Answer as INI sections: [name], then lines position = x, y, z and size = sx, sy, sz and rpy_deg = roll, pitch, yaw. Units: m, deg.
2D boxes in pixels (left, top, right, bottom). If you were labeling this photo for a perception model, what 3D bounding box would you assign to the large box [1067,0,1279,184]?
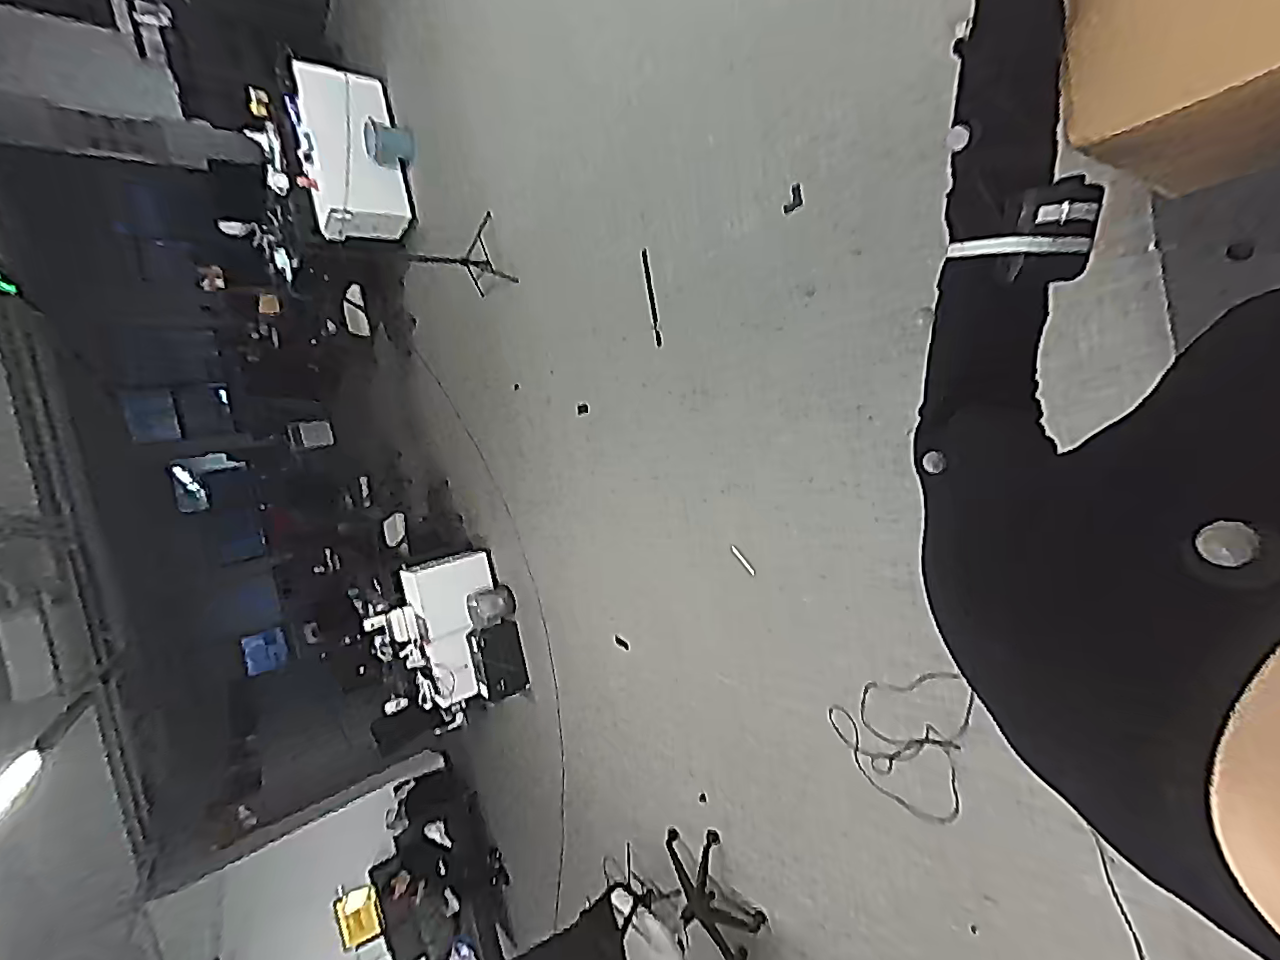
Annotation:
[large box]
position = 0.504, -0.420, 0.283
size = 0.408, 0.320, 0.320
rpy_deg = -3, 99, 53
